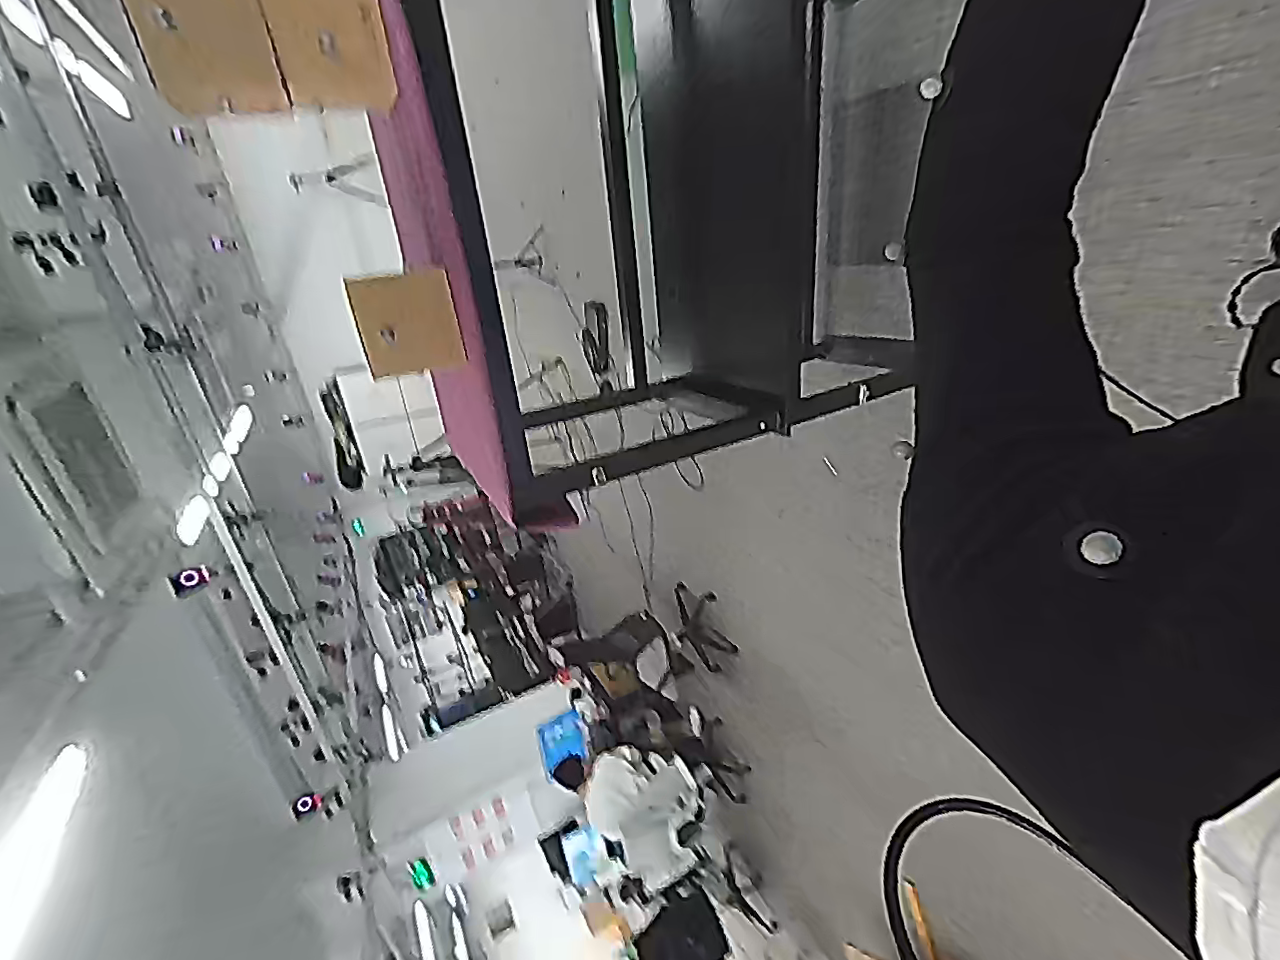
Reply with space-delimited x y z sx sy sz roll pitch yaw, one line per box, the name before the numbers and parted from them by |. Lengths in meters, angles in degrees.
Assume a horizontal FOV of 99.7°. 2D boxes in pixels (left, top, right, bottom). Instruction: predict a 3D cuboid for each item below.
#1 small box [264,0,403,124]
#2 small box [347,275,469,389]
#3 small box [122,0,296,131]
small box | -0.507 -0.707 0.900 0.179 0.176 0.168 37 139 54
small box | -0.434 -0.280 1.020 0.168 0.176 0.179 26 129 58
small box | -0.647 -0.657 0.829 0.168 0.176 0.179 32 134 56
